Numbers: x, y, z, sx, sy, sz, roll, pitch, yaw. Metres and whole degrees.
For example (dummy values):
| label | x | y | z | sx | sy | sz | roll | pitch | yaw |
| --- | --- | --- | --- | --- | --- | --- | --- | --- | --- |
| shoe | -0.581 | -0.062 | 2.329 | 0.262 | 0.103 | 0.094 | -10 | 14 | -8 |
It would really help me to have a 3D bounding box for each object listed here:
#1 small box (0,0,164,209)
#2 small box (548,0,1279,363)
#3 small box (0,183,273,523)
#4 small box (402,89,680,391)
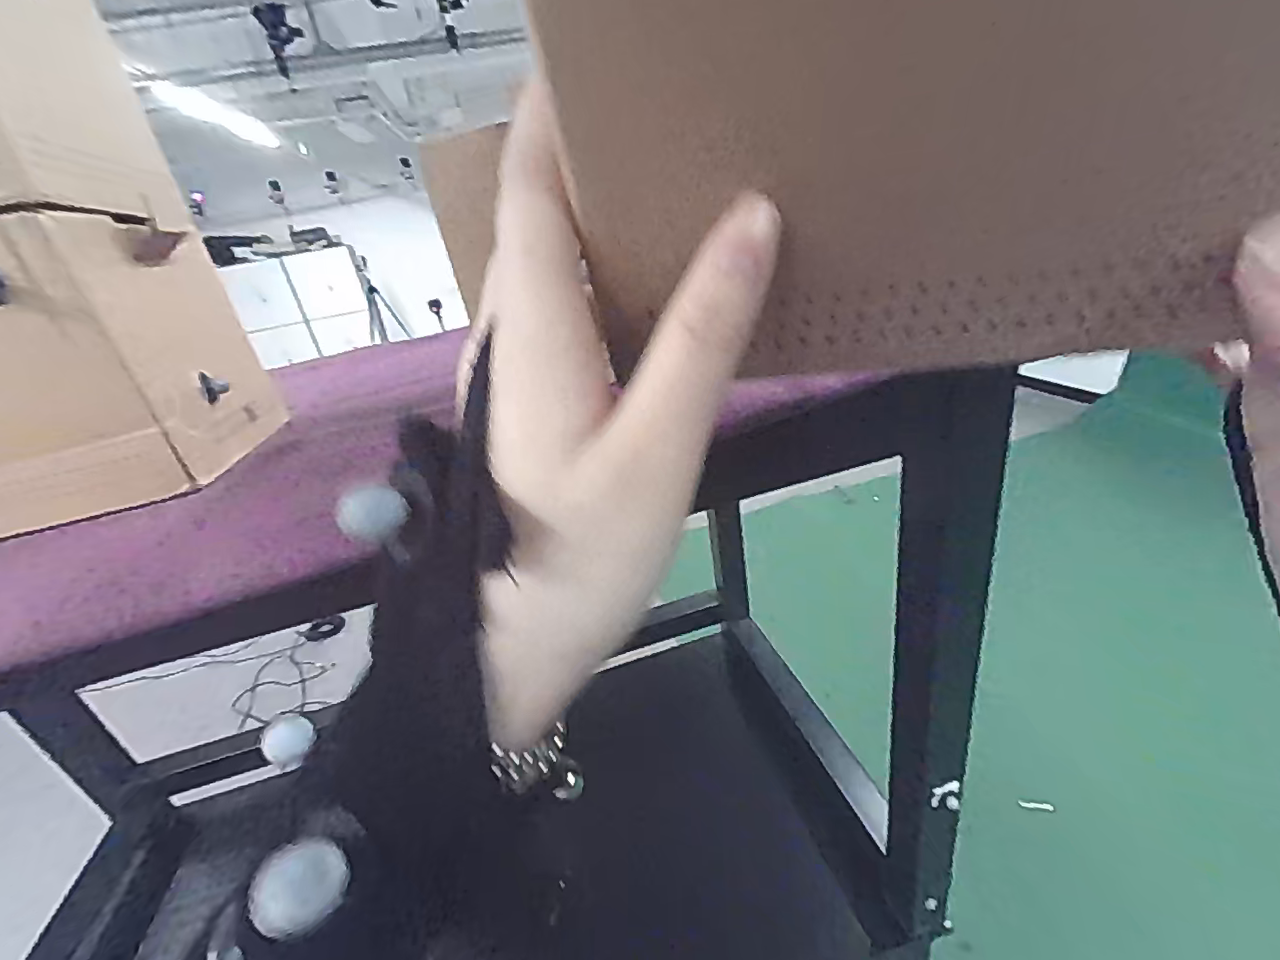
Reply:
| label | x | y | z | sx | sy | sz | roll | pitch | yaw |
| --- | --- | --- | --- | --- | --- | --- | --- | --- | --- |
| small box | -0.414 | -0.223 | 0.287 | 0.168 | 0.176 | 0.179 | -14 | 24 | -12 |
| small box | 0.072 | -0.142 | 0.118 | 0.179 | 0.176 | 0.168 | -2 | 54 | 9 |
| small box | -0.393 | -0.077 | 0.355 | 0.179 | 0.176 | 0.168 | -15 | 25 | -9 |
| small box | -0.049 | -0.176 | 0.412 | 0.168 | 0.176 | 0.179 | -14 | 25 | -2 |
